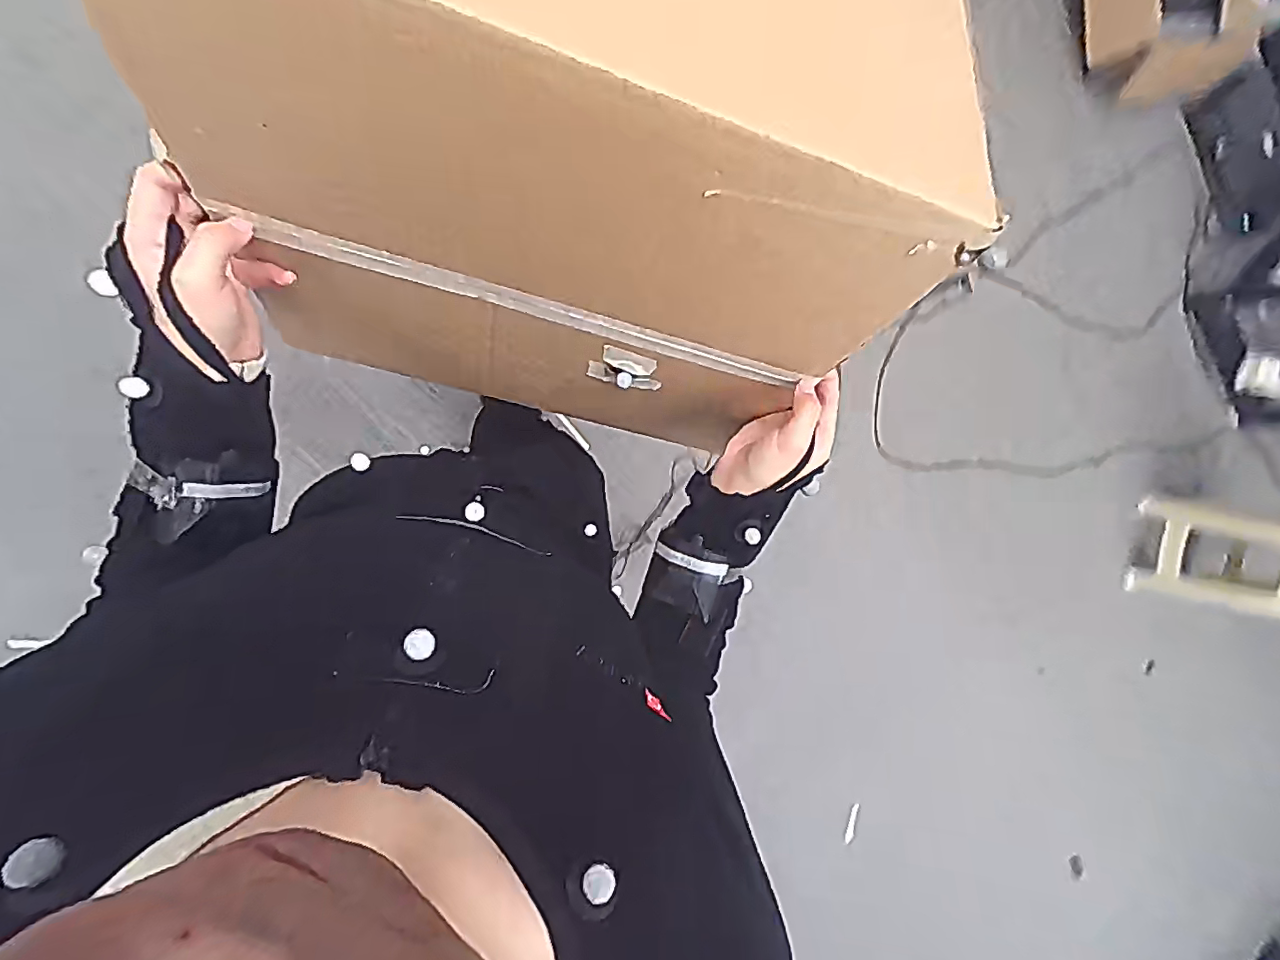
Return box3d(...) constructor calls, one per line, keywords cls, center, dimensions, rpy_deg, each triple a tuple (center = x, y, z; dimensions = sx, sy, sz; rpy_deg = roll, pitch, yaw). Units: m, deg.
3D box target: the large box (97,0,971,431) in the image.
box3d(cls="large box", center=(-0.051, -0.270, 0.415), dimensions=(0.408, 0.320, 0.320), rpy_deg=(11, 71, -13))
